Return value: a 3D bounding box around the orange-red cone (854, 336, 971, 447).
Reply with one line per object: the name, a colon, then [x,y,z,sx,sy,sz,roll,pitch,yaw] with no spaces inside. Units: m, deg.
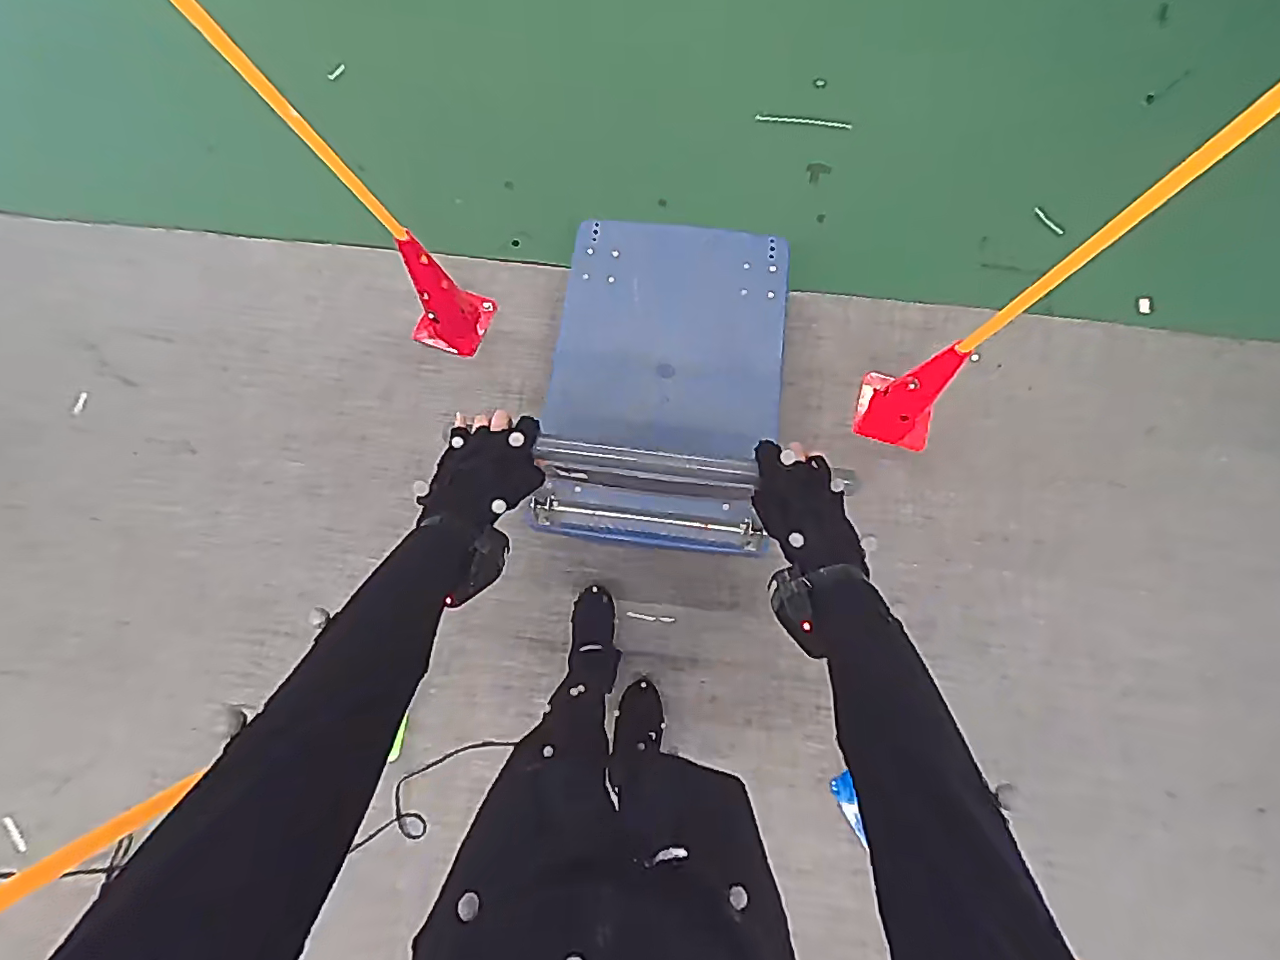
orange-red cone: [0.700,-0.244,1.328,0.198,0.360,0.199,17,76,7]
